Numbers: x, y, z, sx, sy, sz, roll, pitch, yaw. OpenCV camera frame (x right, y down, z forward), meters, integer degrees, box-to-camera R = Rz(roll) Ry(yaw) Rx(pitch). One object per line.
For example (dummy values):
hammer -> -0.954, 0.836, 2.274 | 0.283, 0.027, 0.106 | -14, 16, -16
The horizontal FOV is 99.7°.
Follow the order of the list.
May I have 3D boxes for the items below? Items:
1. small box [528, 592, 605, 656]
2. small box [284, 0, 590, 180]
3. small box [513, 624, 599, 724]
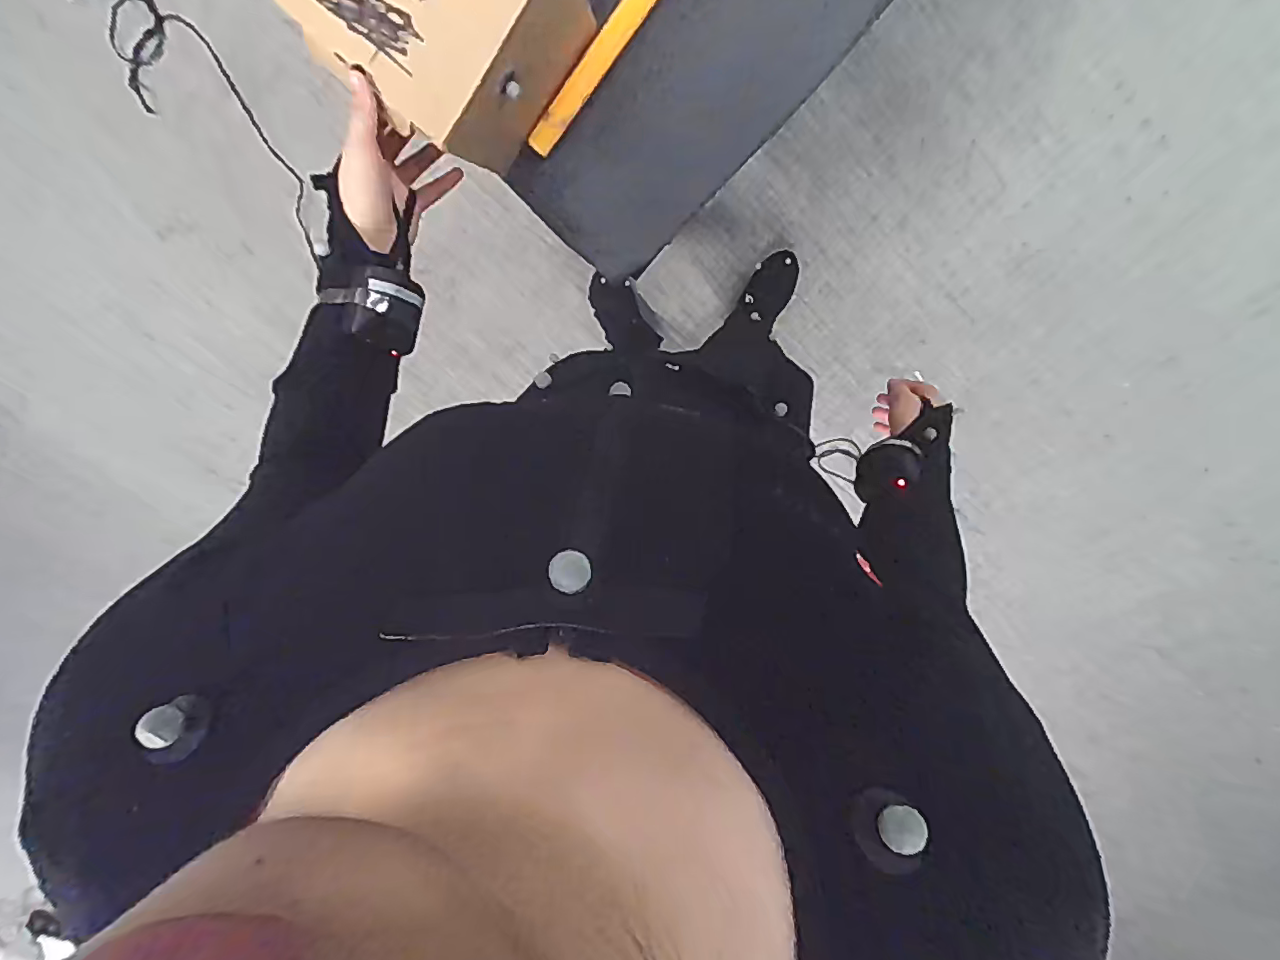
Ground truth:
small box -> -0.223, 0.487, 1.694 | 0.168, 0.176, 0.179 | 36, 112, -12
small box -> -0.162, -0.407, 0.489 | 0.168, 0.176, 0.179 | 38, 109, -11
small box -> -0.231, 0.547, 1.540 | 0.168, 0.176, 0.179 | 35, 112, -12
